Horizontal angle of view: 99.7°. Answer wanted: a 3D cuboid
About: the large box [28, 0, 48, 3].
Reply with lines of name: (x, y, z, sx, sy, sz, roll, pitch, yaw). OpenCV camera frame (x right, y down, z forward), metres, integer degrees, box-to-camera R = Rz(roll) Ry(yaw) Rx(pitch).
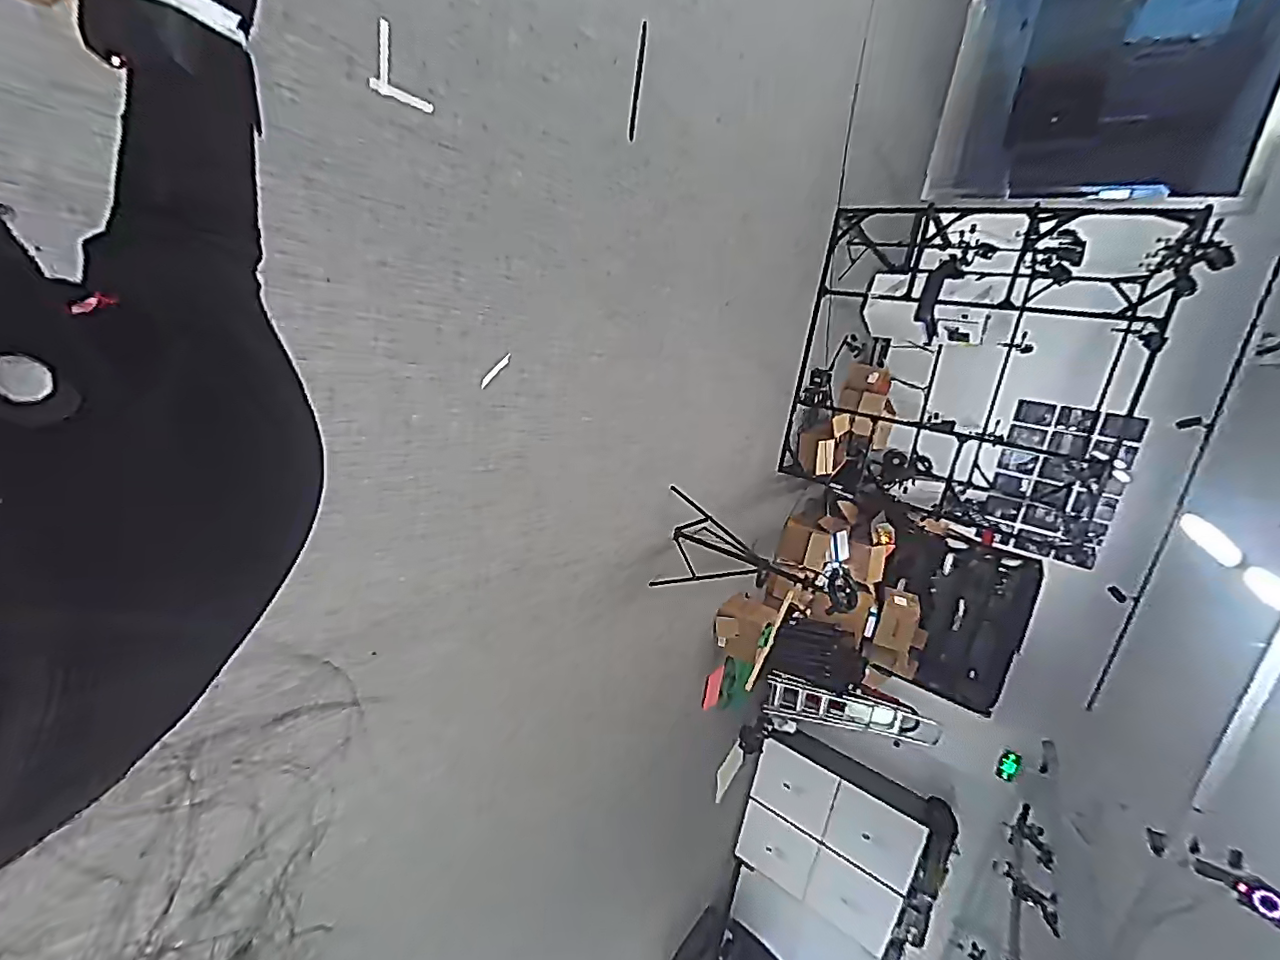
large box: (-0.515, -0.500, 0.222, 0.408, 0.320, 0.320, -11, 122, -55)
